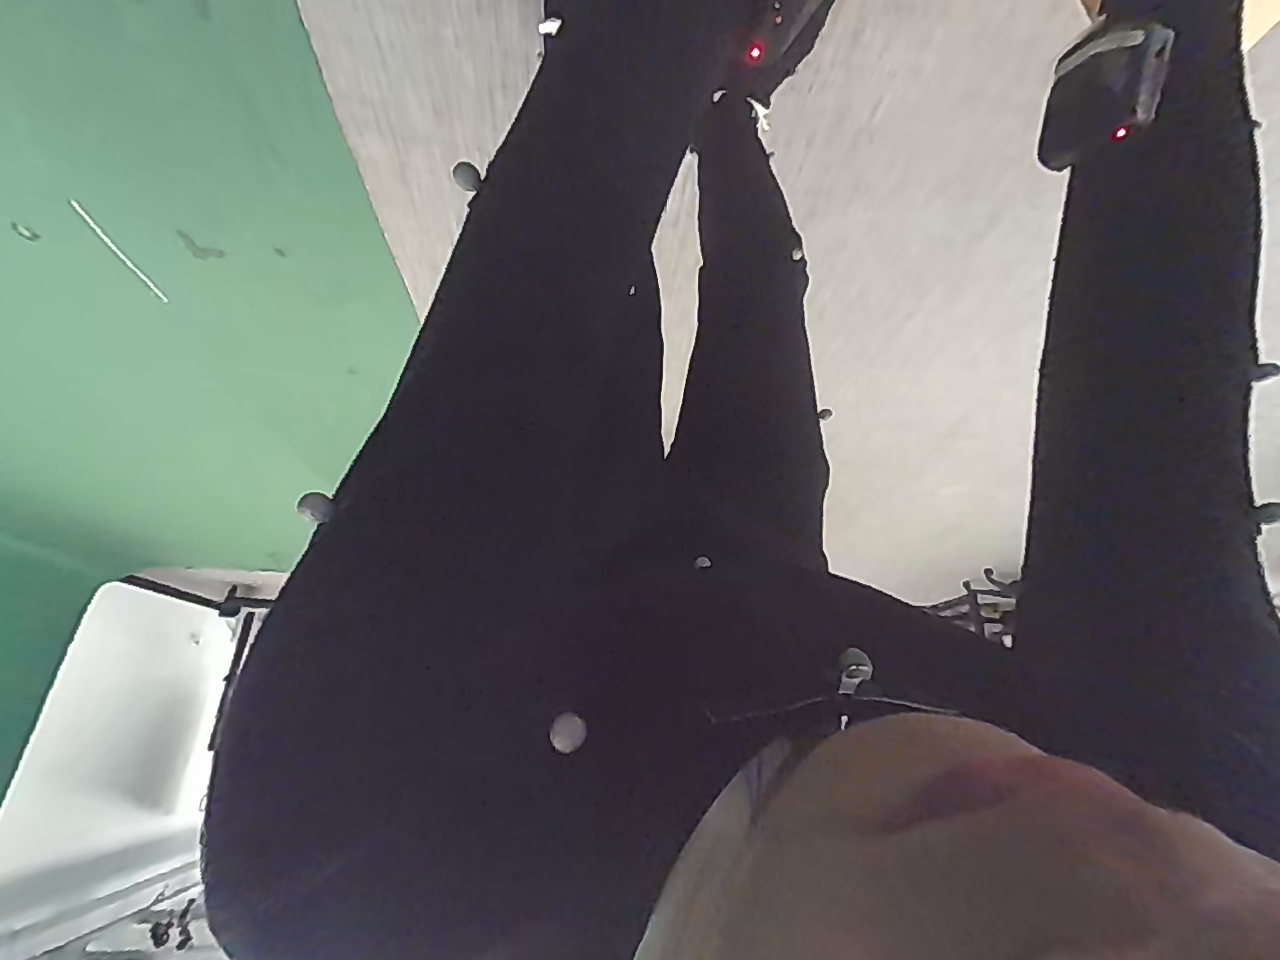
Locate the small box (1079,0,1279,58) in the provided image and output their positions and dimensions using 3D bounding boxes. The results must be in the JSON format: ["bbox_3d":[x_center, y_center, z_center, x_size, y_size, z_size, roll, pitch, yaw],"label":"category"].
[{"bbox_3d":[0.573,-0.568,0.532,0.179,0.176,0.168,5,157,-6],"label":"small box"}]
